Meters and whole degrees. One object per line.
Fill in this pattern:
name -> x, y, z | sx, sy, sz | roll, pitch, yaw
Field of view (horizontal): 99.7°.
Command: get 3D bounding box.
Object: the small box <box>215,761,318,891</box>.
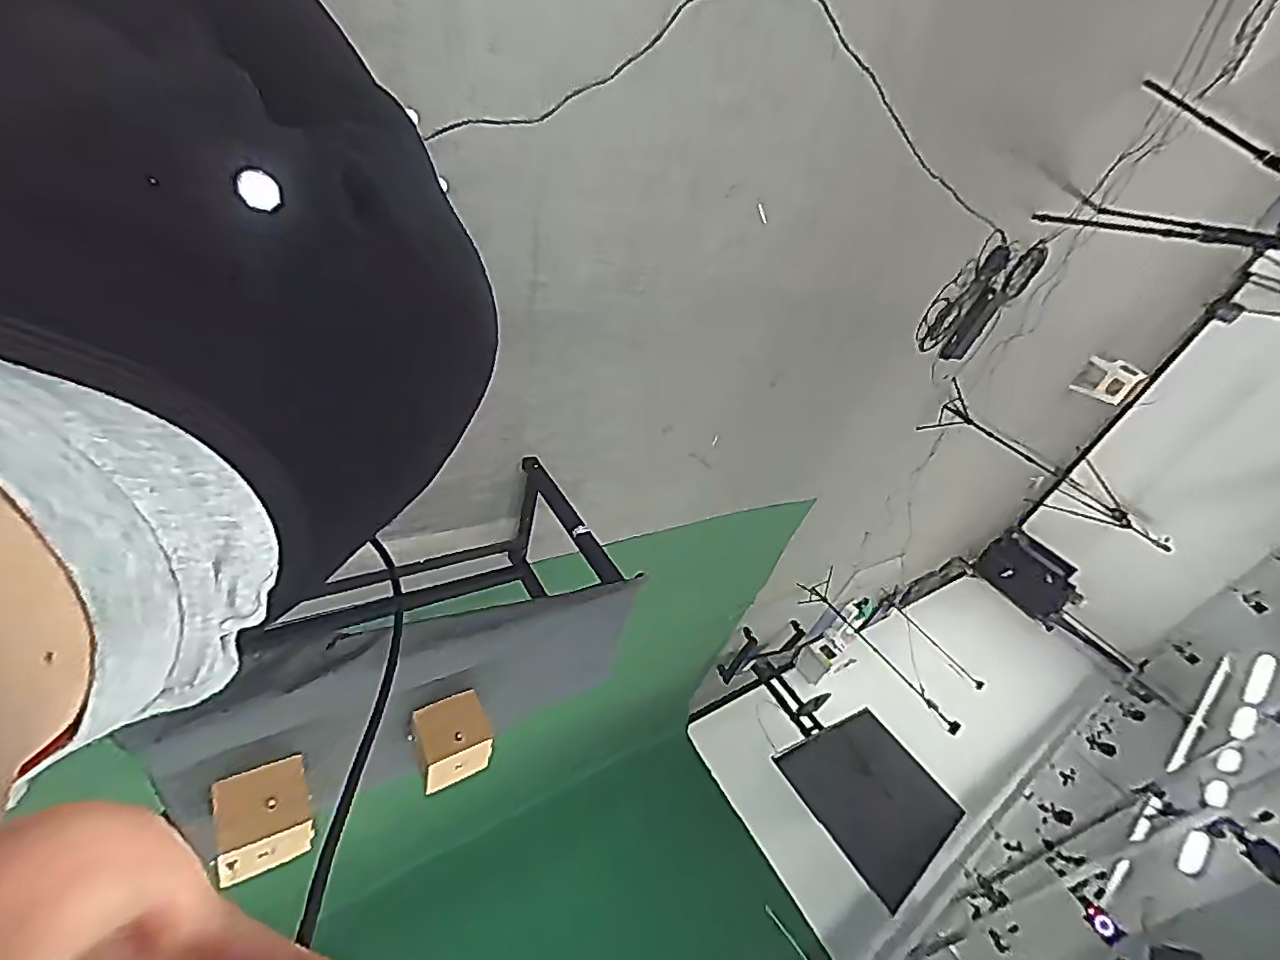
small box -> -0.874, 0.799, 1.265 | 0.179, 0.176, 0.168 | -6, 131, -40

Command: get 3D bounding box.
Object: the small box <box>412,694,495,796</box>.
small box -> -0.529, 0.739, 1.527 | 0.179, 0.176, 0.168 | -10, 133, -34
